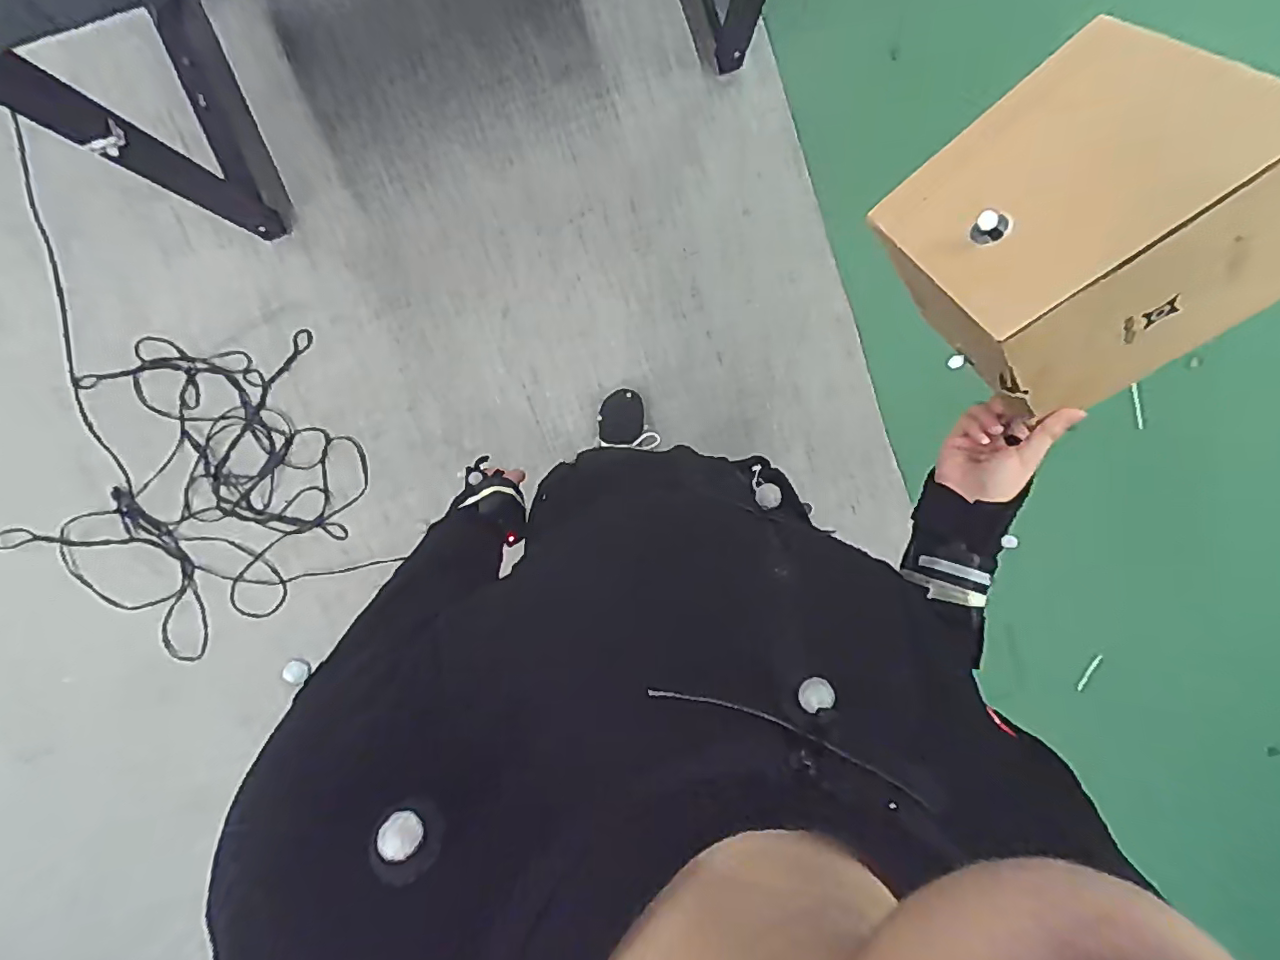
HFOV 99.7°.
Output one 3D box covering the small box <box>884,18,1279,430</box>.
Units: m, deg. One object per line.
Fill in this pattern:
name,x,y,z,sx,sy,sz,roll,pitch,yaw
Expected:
small box,0.309,-0.174,0.396,0.179,0.176,0.168,-39,141,25
